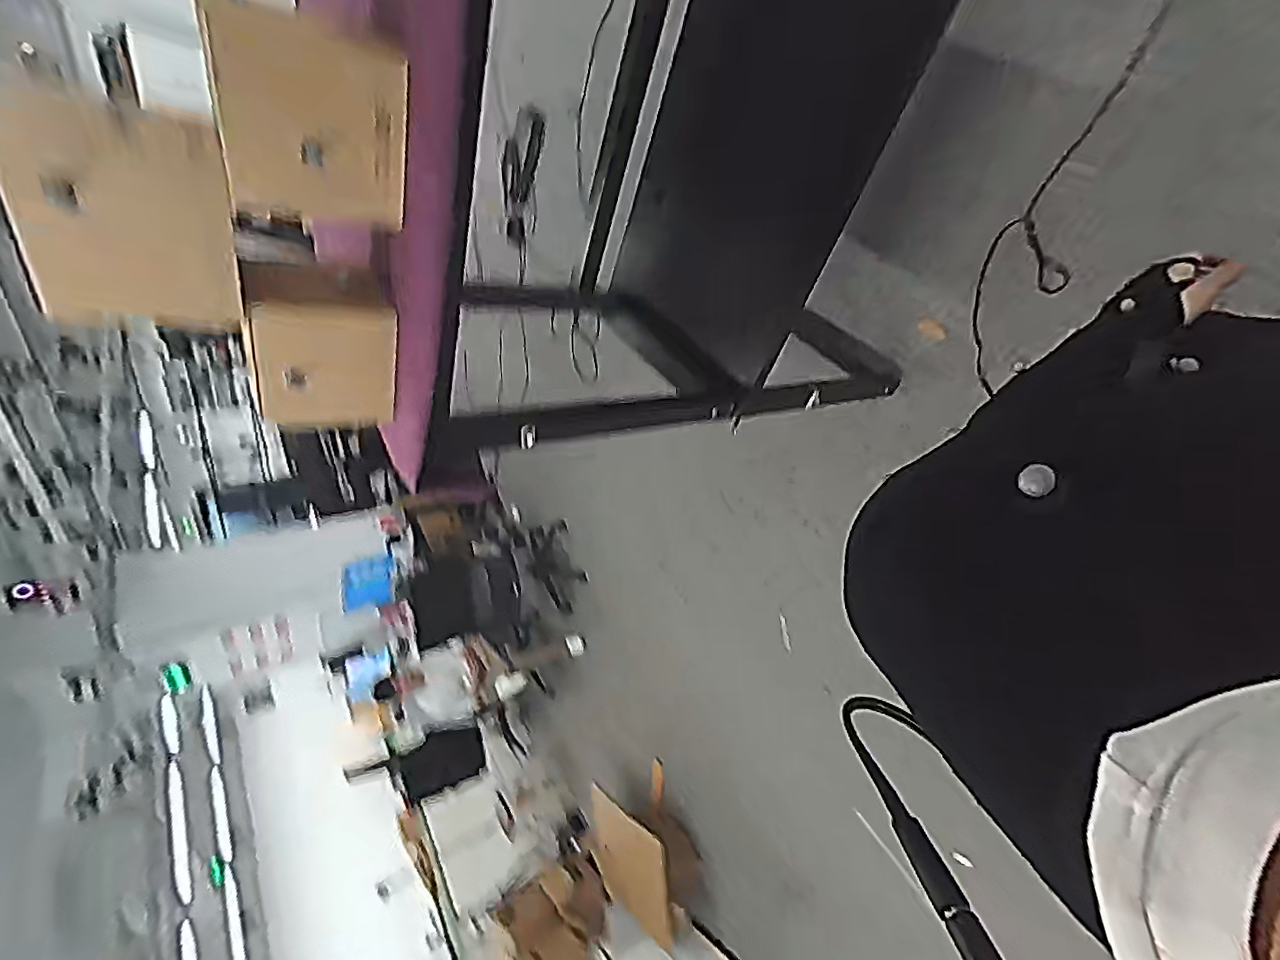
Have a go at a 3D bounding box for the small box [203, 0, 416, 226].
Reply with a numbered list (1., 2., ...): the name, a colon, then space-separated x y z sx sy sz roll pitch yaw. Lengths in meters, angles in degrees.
1. small box: -0.356 -0.399 0.599 0.179 0.176 0.168 53 137 34

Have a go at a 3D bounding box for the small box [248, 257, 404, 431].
1. small box: -0.445 -0.191 0.769 0.168 0.176 0.179 51 135 34

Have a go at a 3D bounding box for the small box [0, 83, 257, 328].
1. small box: -0.534 -0.284 0.587 0.168 0.176 0.179 54 136 33
